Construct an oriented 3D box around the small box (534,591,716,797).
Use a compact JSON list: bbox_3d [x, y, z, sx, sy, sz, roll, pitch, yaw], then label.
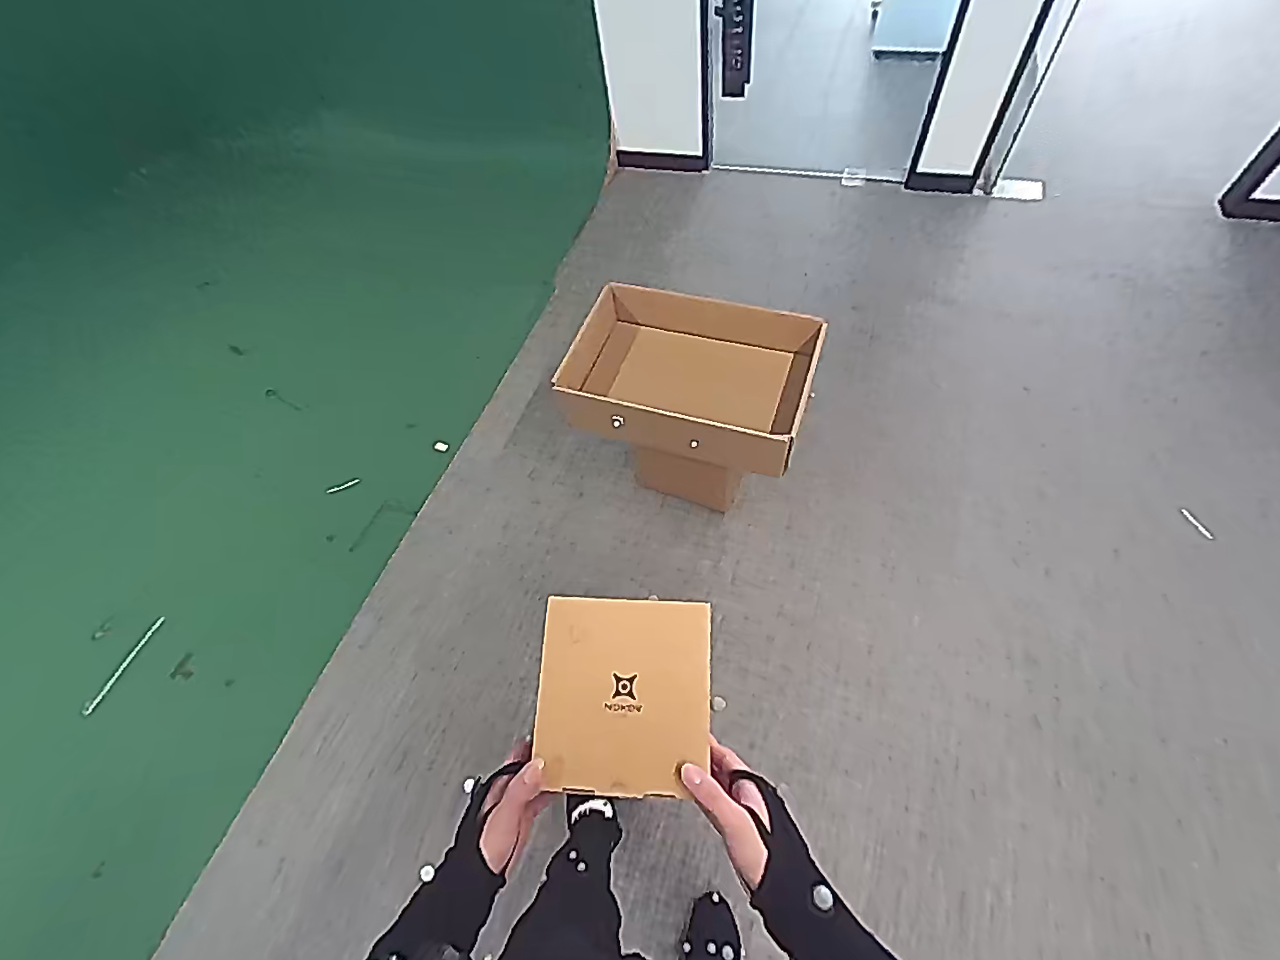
[{"bbox_3d":[-0.009,0.225,0.591,0.168,0.176,0.179,2,71,3],"label":"small box"}]
